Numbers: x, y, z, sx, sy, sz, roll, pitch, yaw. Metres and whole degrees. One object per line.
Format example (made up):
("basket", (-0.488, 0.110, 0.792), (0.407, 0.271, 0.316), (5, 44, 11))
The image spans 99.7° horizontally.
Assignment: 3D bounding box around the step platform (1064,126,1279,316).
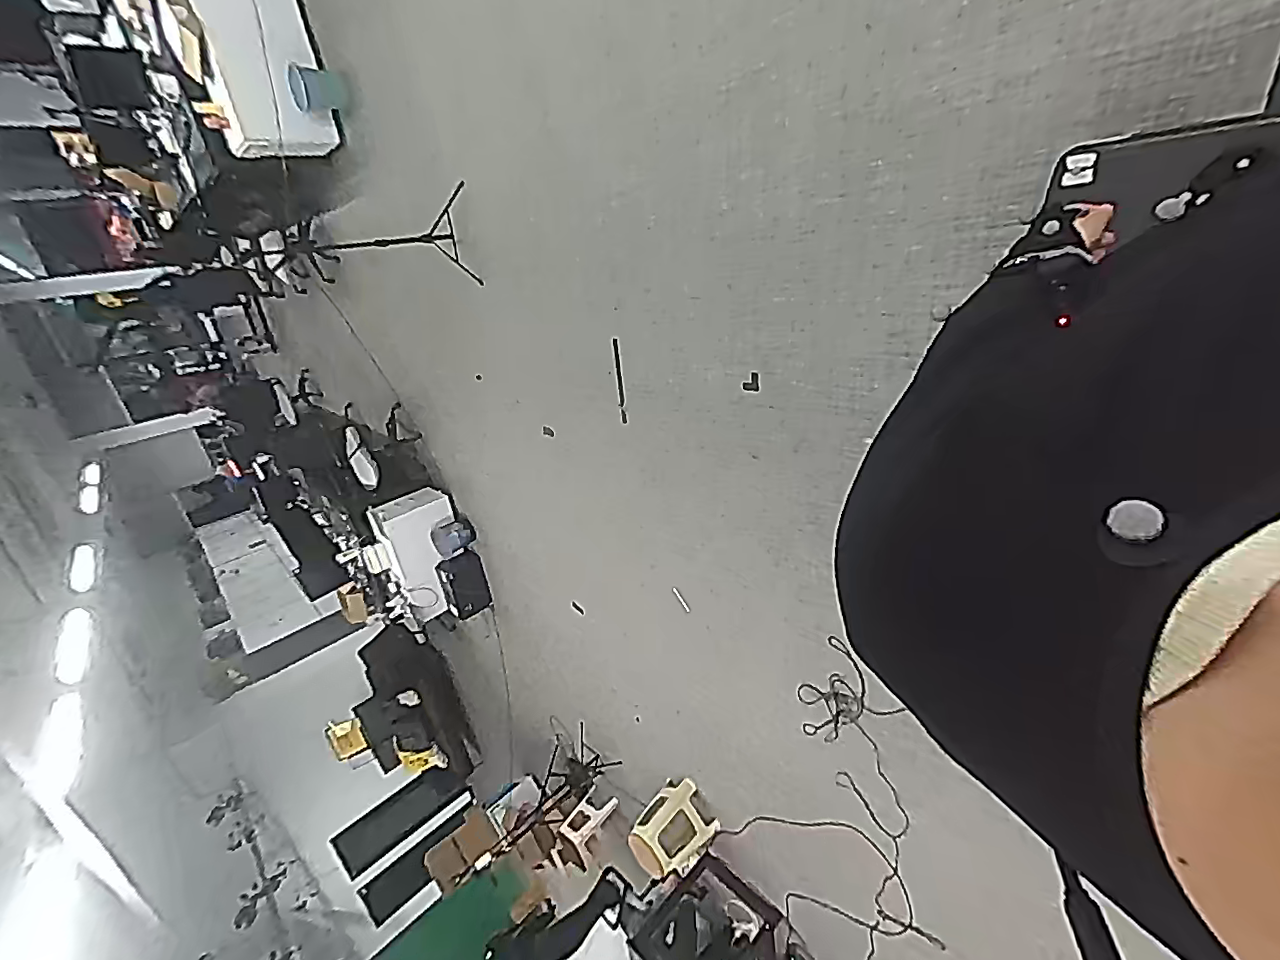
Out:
("step platform", (1.122, -0.421, 0.873), (0.684, 0.204, 0.286), (22, 126, 41))
